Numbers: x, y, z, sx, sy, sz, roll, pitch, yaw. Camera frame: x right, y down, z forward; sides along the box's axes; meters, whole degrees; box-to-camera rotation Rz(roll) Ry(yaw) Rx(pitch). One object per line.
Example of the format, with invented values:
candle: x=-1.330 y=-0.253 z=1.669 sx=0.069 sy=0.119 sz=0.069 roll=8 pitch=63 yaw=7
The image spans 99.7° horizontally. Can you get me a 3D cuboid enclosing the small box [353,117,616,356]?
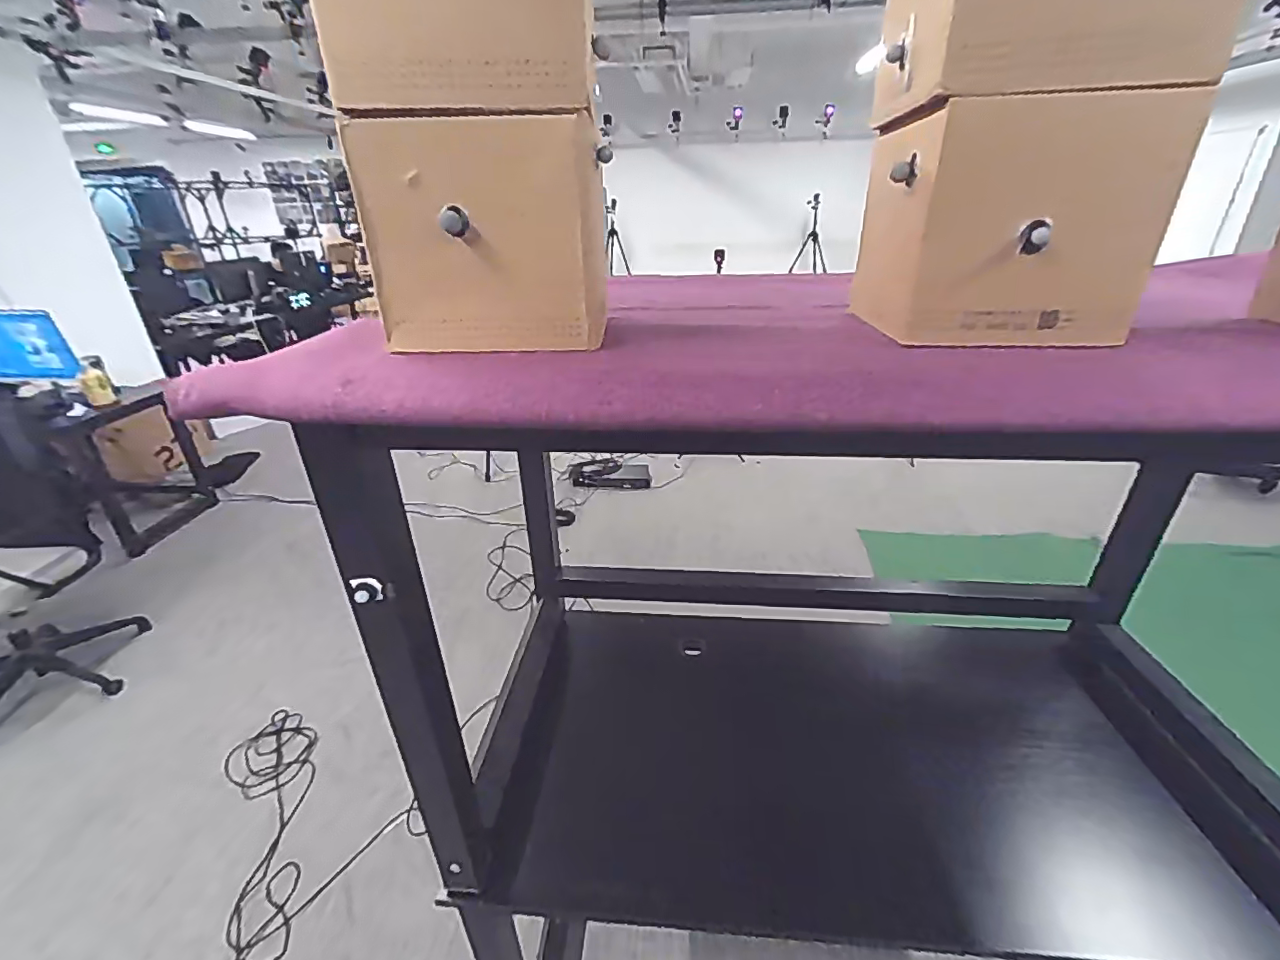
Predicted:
small box: x=-0.116 y=-0.212 z=0.487 sx=0.179 sy=0.176 sz=0.168 roll=-1 pitch=28 yaw=0

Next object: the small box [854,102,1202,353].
small box: x=0.301 y=-0.211 z=0.472 sx=0.168 sy=0.176 sz=0.179 roll=2 pitch=26 yaw=5

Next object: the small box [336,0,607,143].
small box: x=-0.117 y=-0.359 z=0.412 sx=0.179 sy=0.176 sz=0.168 roll=-1 pitch=27 yaw=-2
